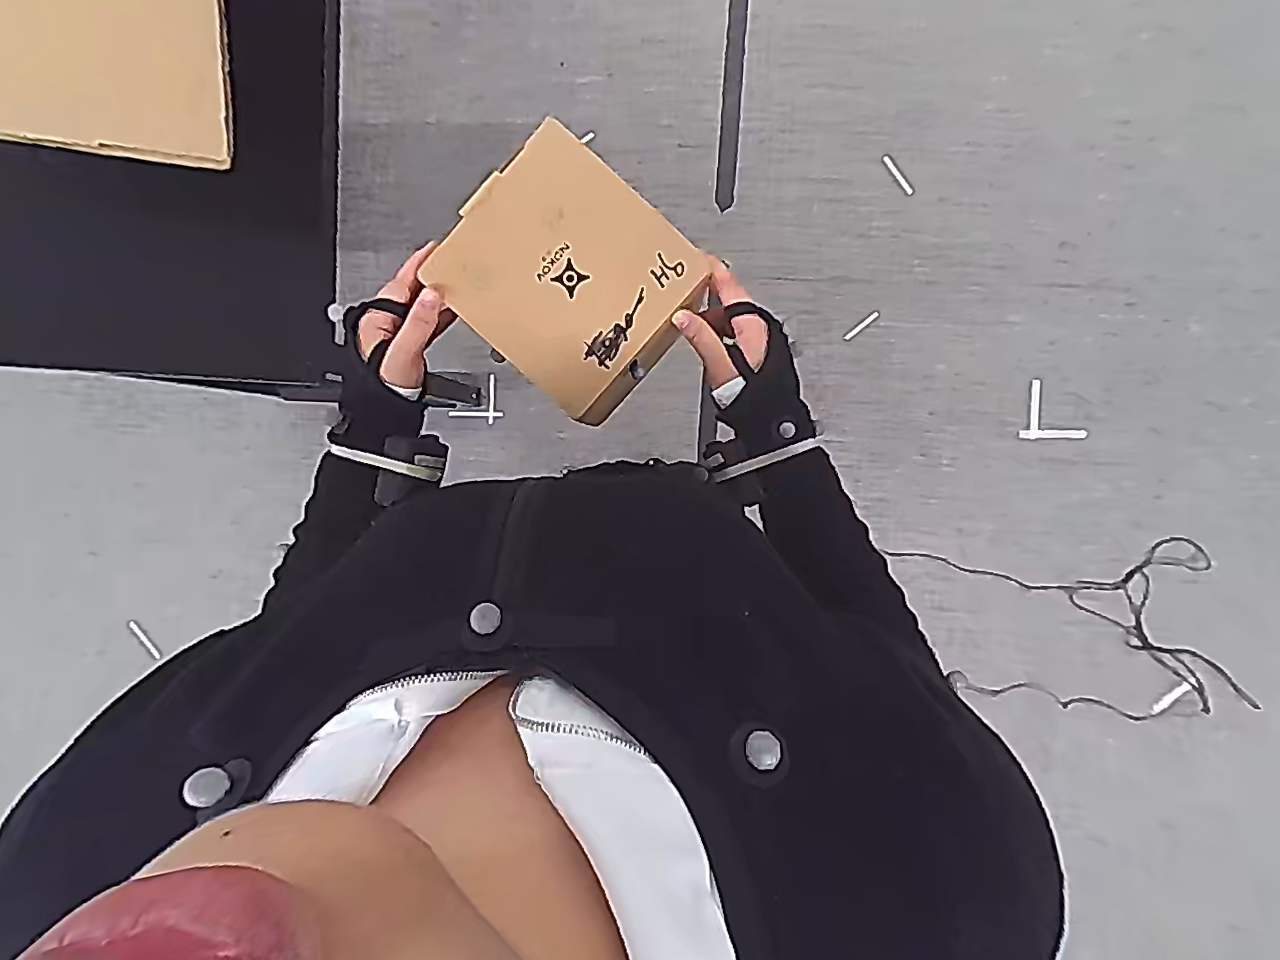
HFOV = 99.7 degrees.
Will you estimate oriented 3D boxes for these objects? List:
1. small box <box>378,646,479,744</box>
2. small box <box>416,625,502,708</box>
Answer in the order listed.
[{"bbox_3d":[-0.496,0.508,1.297,0.179,0.176,0.168,-4,92,4],"label":"small box"},{"bbox_3d":[-0.483,0.497,1.458,0.179,0.176,0.168,-1,94,2],"label":"small box"}]
